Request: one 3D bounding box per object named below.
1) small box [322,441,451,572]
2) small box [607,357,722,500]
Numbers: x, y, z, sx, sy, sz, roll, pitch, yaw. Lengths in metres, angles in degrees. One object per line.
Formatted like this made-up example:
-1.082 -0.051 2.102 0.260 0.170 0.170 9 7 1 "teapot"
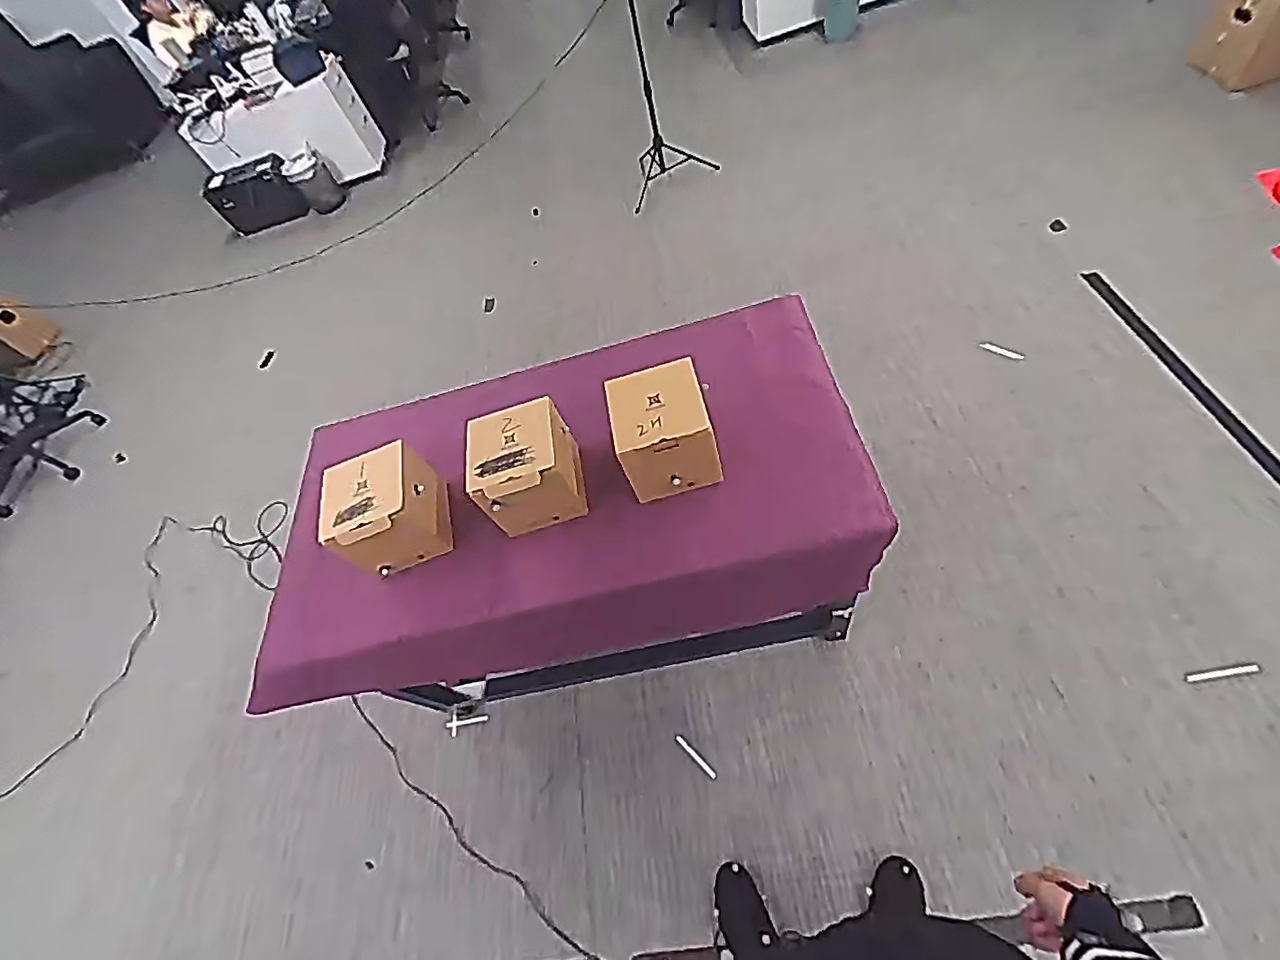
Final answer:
-0.486 0.062 1.055 0.168 0.176 0.179 -22 55 2 "small box"
0.047 -0.091 0.996 0.168 0.176 0.179 -15 56 7 "small box"
